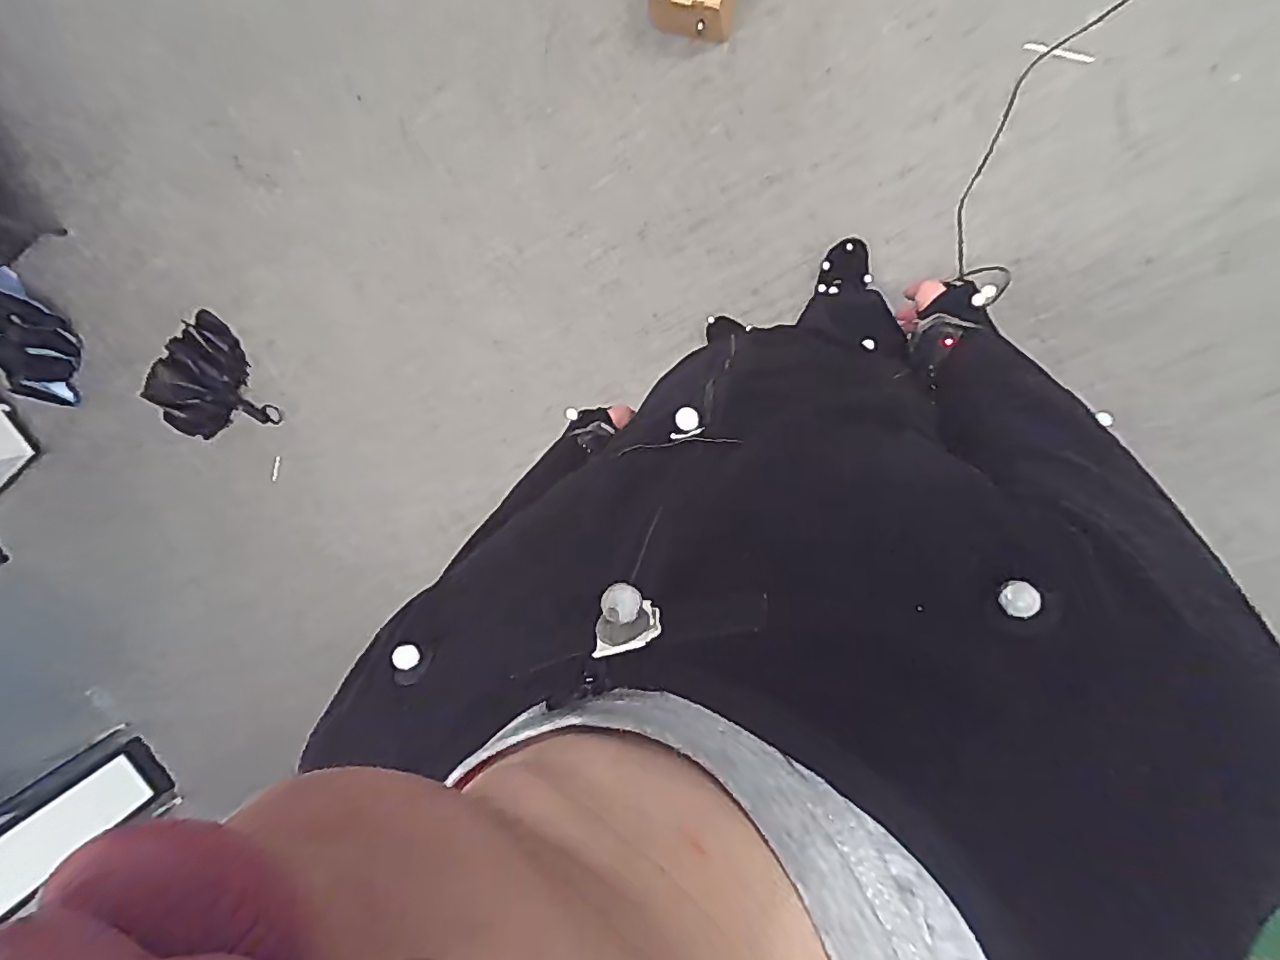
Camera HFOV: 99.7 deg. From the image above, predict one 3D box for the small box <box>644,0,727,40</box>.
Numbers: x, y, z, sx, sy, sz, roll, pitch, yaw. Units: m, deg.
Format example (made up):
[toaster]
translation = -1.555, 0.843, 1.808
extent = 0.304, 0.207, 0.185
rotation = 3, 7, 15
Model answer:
[small box]
translation = 0.110, -1.099, 1.165
extent = 0.168, 0.176, 0.179
rotation = 17, 108, 5
